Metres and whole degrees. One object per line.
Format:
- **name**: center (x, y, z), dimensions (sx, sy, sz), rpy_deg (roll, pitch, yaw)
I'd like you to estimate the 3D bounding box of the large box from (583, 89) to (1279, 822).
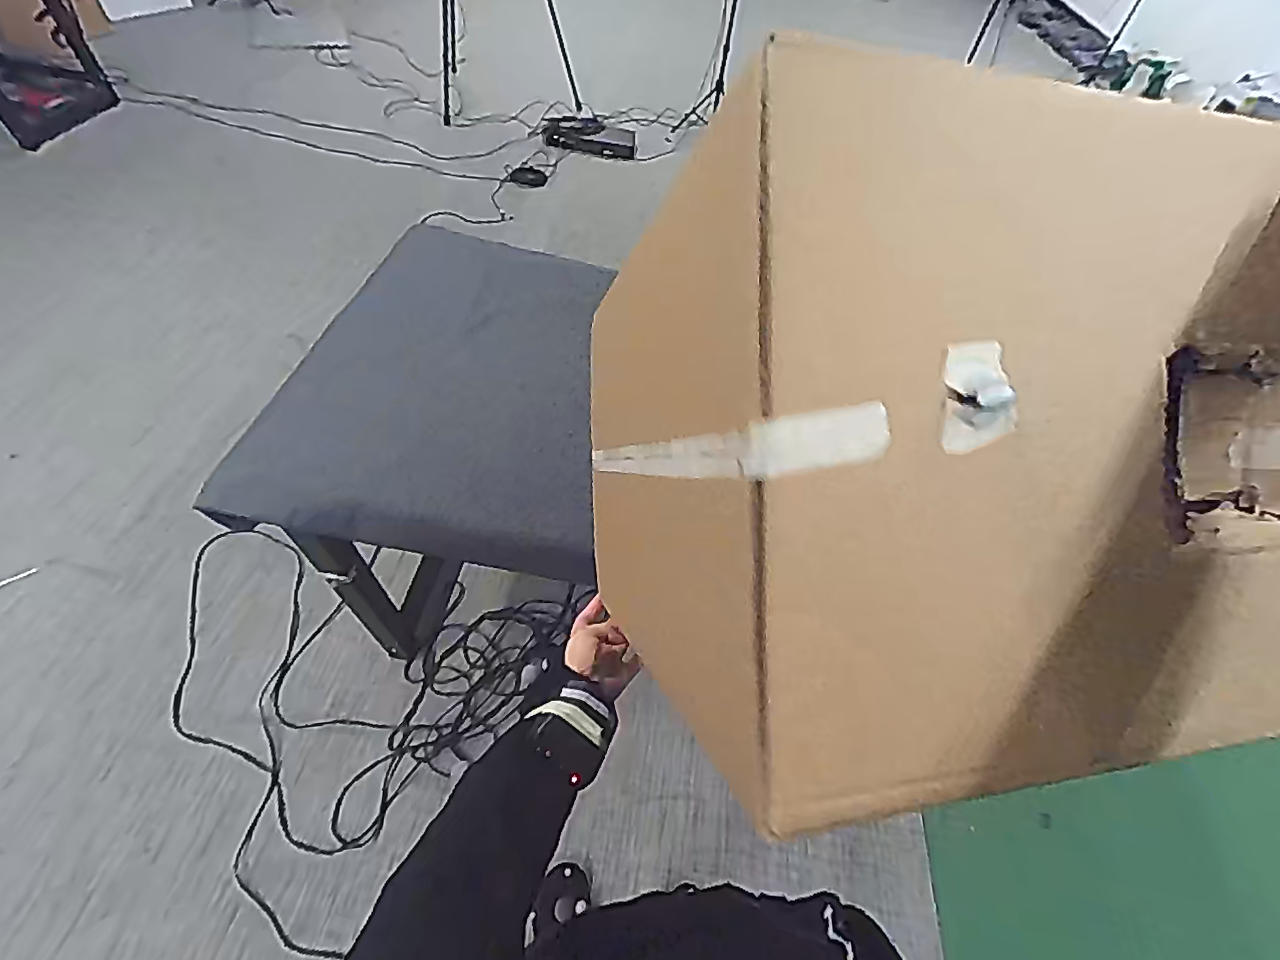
- **large box**: center (0.144, -0.025, 0.439), dimensions (0.320, 0.408, 0.320), rpy_deg (-3, 94, -16)
